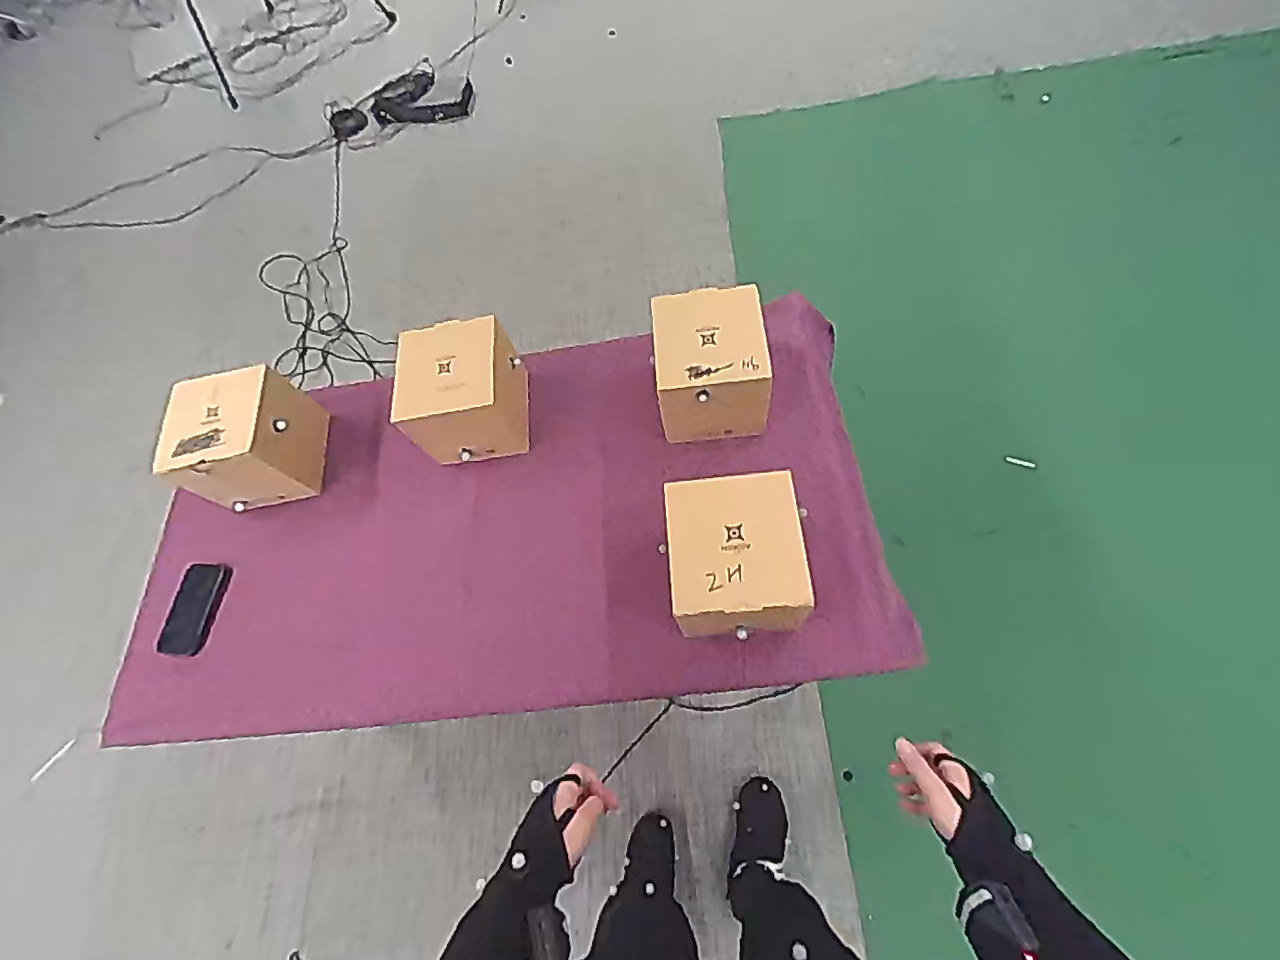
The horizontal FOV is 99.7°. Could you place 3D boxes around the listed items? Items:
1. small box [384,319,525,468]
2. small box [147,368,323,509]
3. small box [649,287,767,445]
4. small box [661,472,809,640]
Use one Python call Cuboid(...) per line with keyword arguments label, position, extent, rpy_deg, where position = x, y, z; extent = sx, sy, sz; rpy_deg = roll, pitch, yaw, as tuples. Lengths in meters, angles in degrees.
Cuboid(label="small box", position=(-0.301, -0.140, 0.915), extent=(0.168, 0.176, 0.179), rpy_deg=(-9, 65, 6))
Cuboid(label="small box", position=(-0.681, -0.061, 0.934), extent=(0.168, 0.176, 0.179), rpy_deg=(-11, 63, 3))
Cuboid(label="small box", position=(0.106, -0.176, 0.868), extent=(0.168, 0.176, 0.179), rpy_deg=(-6, 64, 7))
Cuboid(label="small box", position=(0.121, 0.109, 0.728), extent=(0.168, 0.176, 0.179), rpy_deg=(-6, 64, 7))
